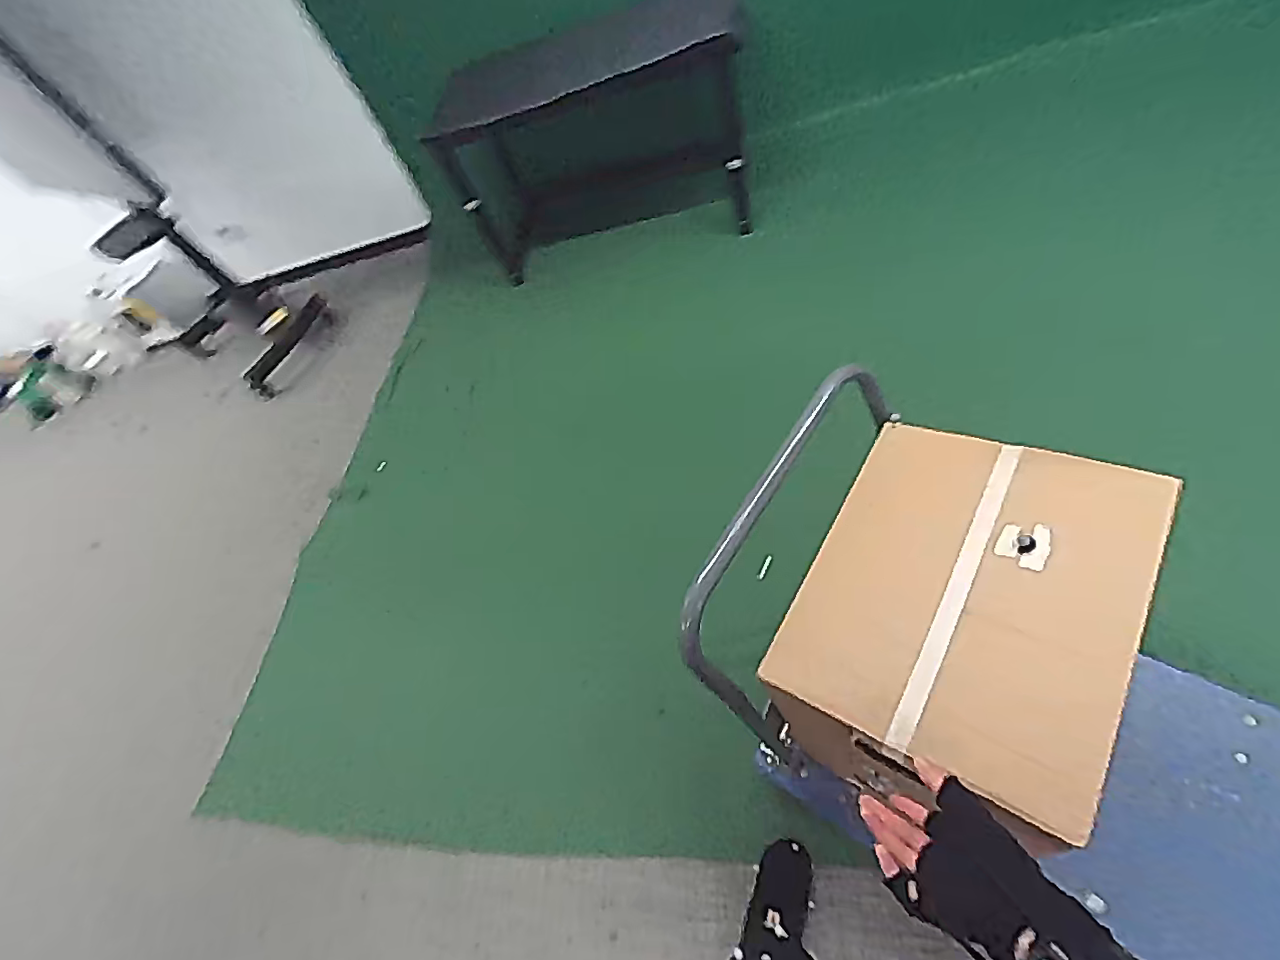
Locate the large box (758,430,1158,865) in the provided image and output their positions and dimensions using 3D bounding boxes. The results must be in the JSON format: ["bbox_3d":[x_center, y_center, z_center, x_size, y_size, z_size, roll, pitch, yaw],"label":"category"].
[{"bbox_3d":[0.408,0.205,0.721,0.320,0.320,0.408,19,64,36],"label":"large box"}]
